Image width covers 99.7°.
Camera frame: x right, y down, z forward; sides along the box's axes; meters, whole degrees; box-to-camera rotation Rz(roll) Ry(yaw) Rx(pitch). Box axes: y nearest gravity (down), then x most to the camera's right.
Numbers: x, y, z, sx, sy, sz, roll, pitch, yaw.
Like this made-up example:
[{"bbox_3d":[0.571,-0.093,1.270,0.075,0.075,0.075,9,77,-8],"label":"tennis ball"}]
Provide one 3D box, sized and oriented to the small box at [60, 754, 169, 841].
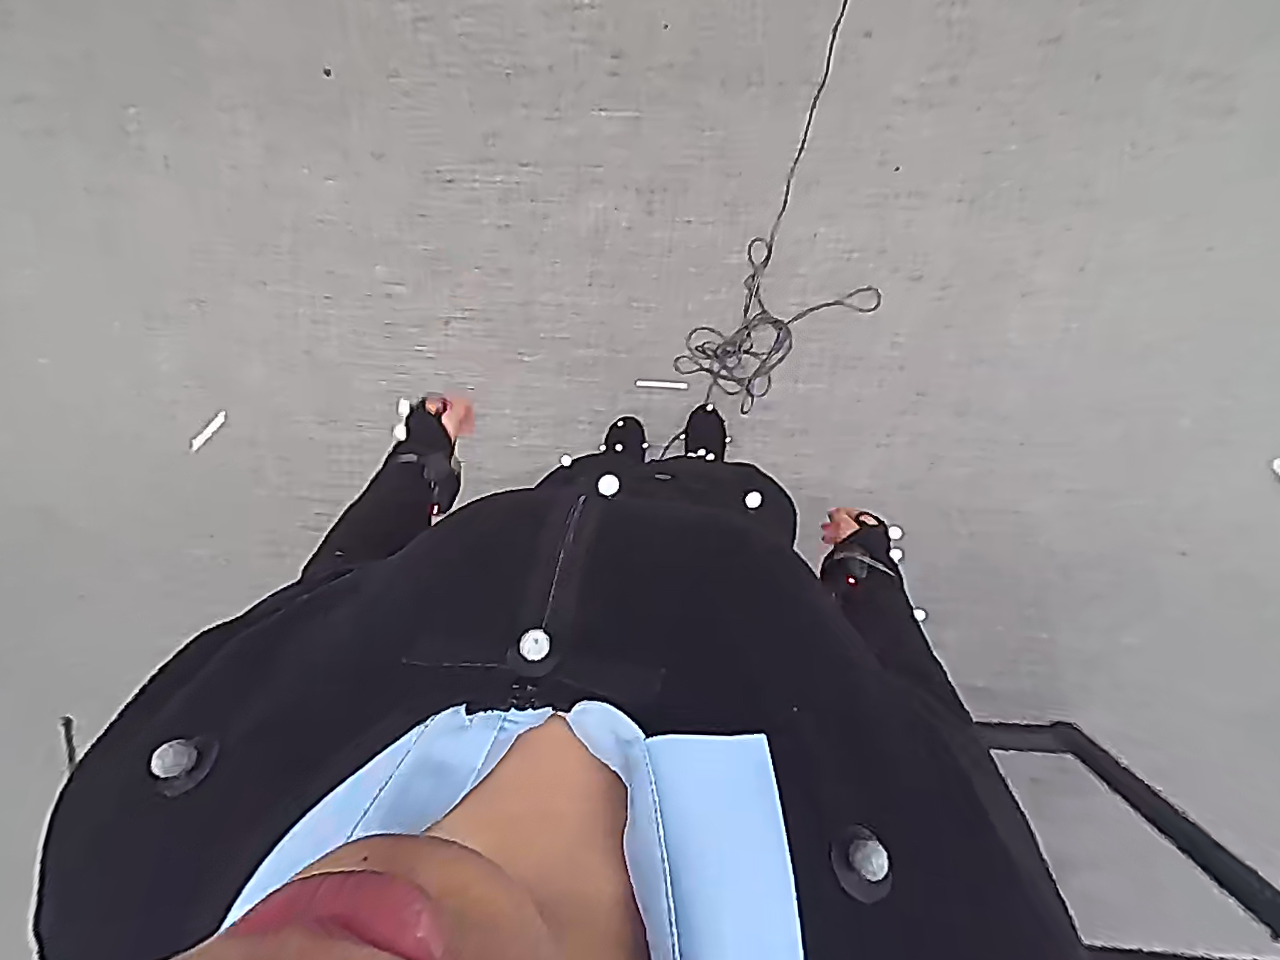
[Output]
[{"bbox_3d":[-1.597,0.967,1.658,0.179,0.176,0.168,0,98,5],"label":"small box"}]
